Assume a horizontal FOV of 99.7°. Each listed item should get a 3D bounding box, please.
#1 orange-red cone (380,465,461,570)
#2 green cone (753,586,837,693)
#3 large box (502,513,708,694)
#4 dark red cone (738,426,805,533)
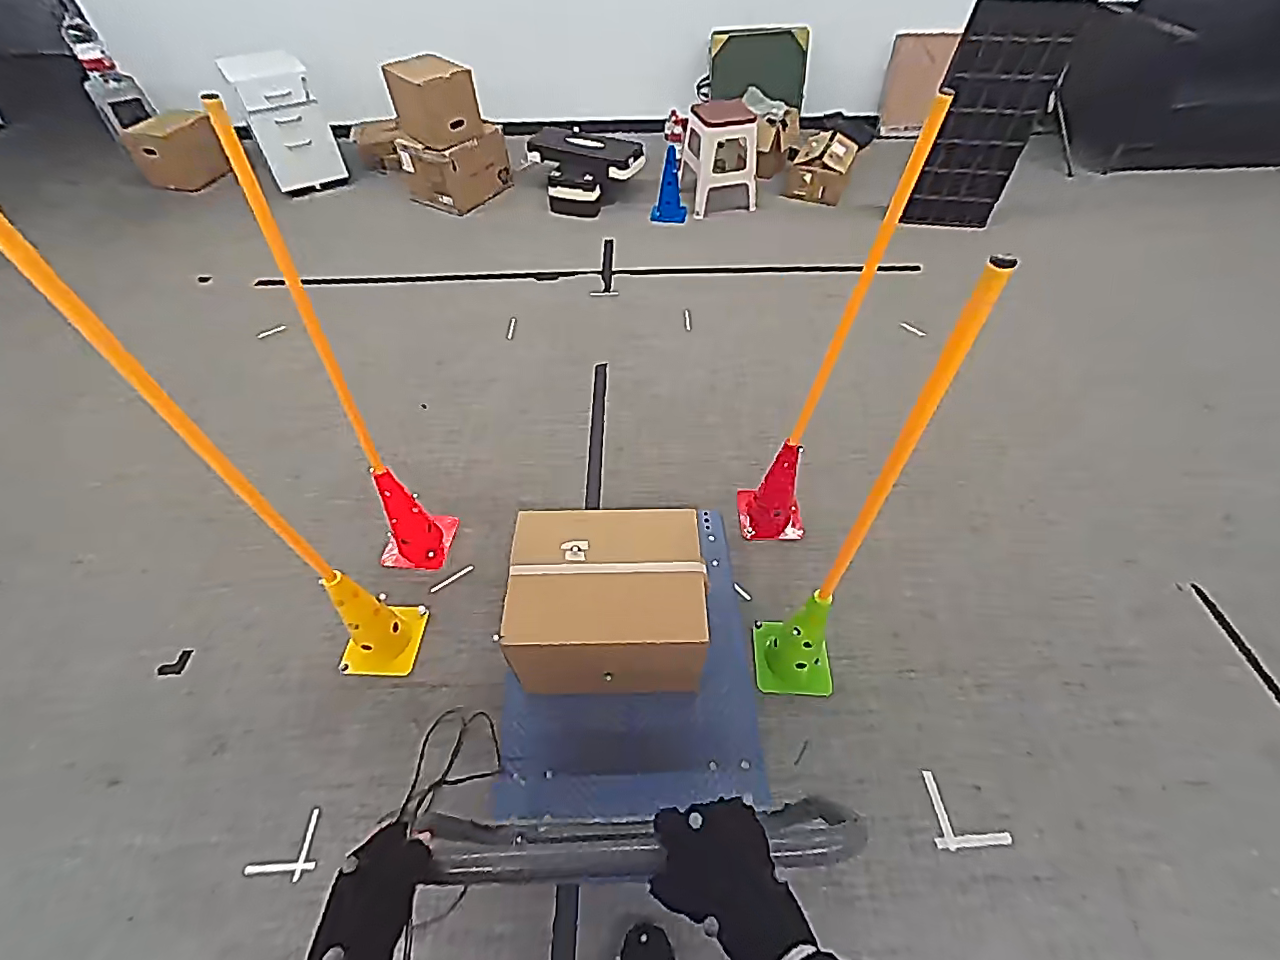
[{"bbox_3d":[-0.695,0.084,1.611,0.198,0.360,0.199,6,50,4],"label":"orange-red cone"},{"bbox_3d":[0.419,0.374,1.358,0.202,0.368,0.200,3,51,1],"label":"green cone"},{"bbox_3d":[-0.066,0.292,1.247,0.408,0.320,0.320,-1,51,1],"label":"large box"},{"bbox_3d":[0.434,-0.013,1.651,0.201,0.394,0.202,0,51,-1],"label":"dark red cone"}]
